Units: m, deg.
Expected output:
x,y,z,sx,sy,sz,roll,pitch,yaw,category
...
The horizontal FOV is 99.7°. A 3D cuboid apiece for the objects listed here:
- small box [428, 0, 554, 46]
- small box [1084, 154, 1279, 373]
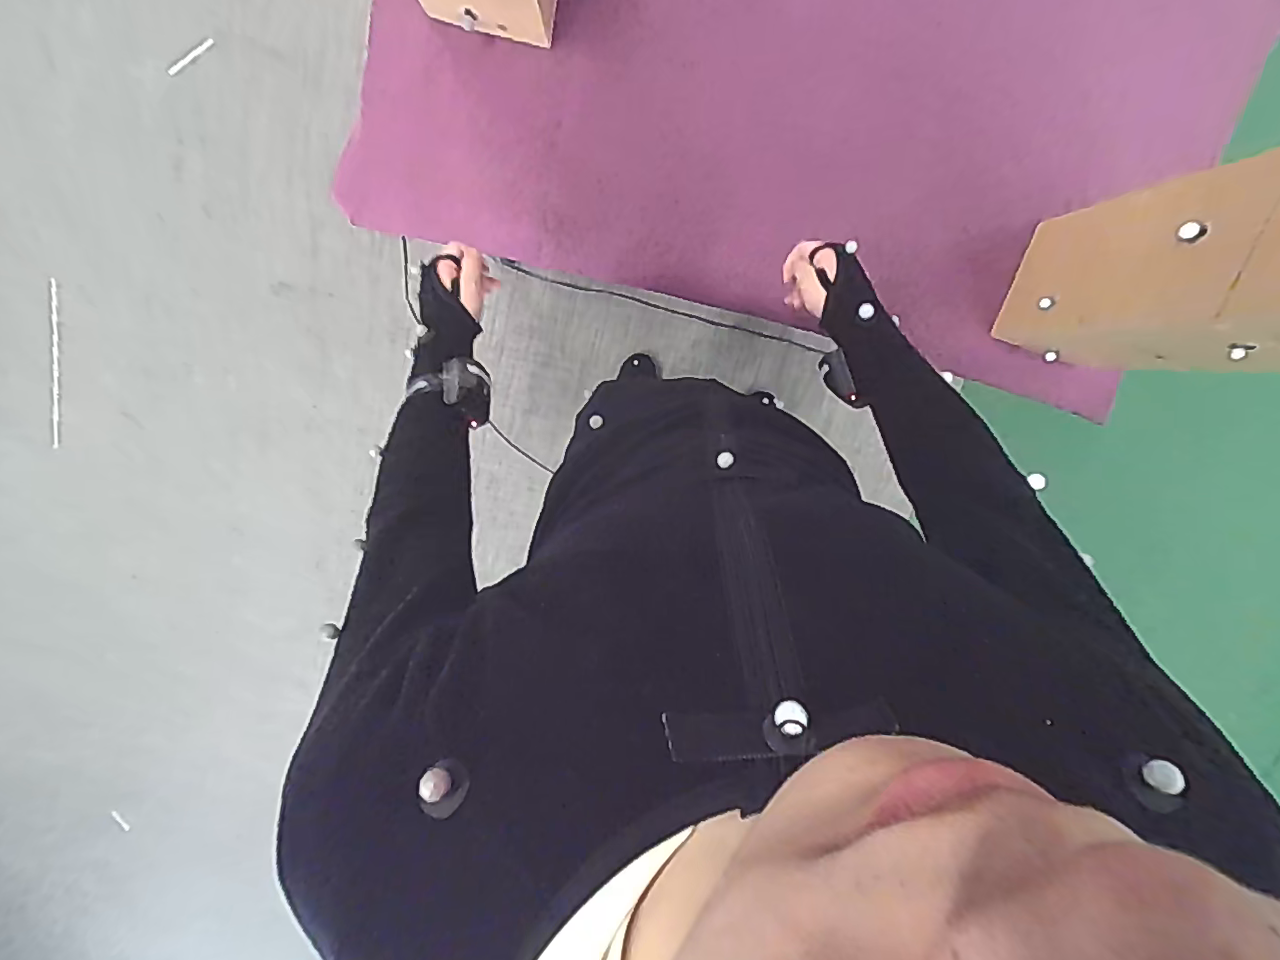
x,y,z,sx,sy,sz,roll,pitch,yaw,category
-0.185,-0.666,0.632,0.168,0.176,0.179,11,104,-4,small box
0.655,-0.228,0.598,0.168,0.176,0.179,17,102,-5,small box
